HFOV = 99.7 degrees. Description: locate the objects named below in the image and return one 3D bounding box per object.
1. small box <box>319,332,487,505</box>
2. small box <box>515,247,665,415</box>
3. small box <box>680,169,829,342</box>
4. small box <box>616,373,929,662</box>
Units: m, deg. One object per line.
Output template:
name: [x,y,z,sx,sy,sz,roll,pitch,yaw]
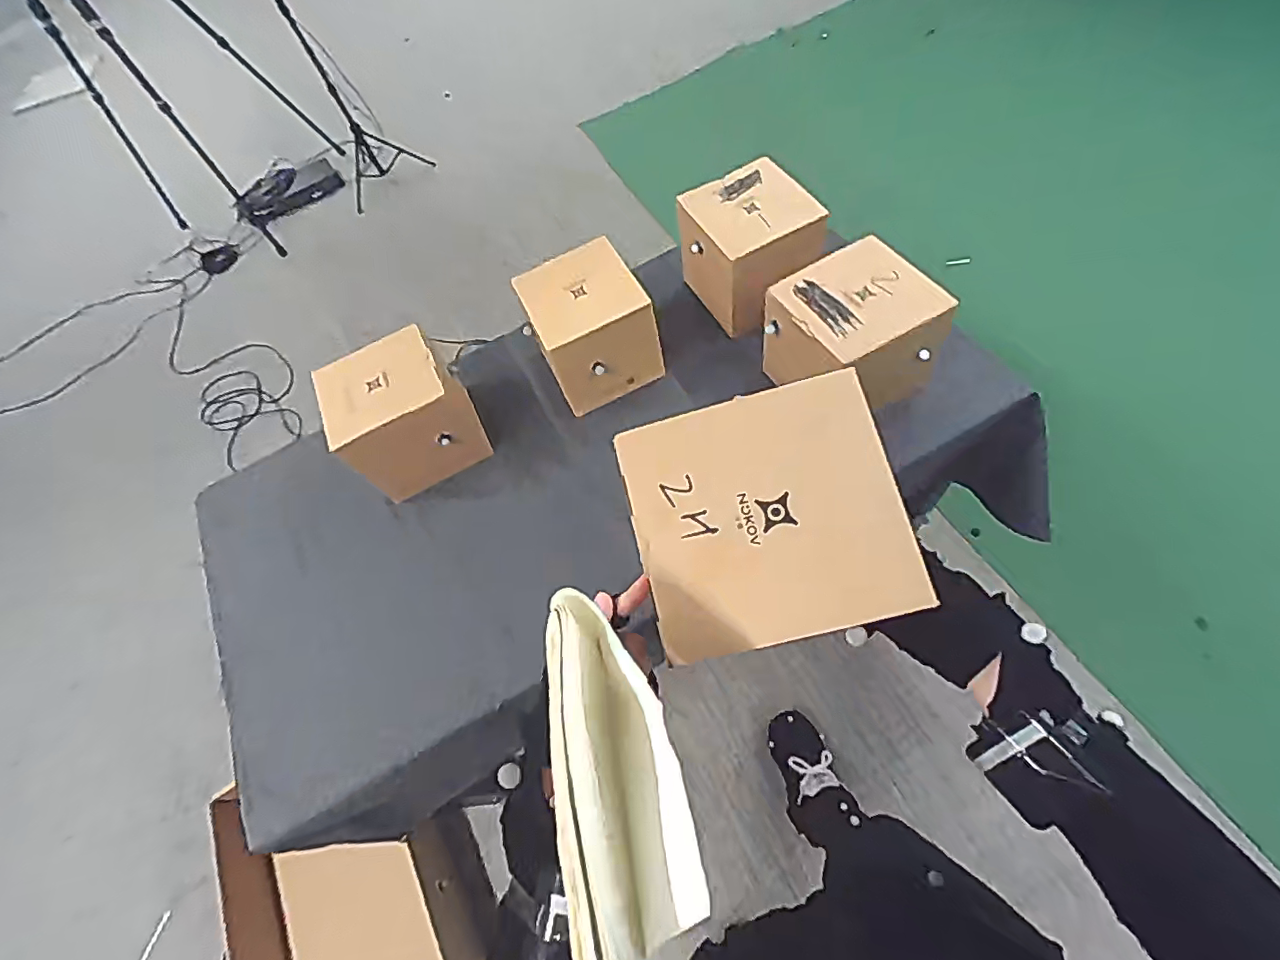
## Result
small box: [-0.358,-0.091,0.846,0.179,0.176,0.168,-27,60,-5]
small box: [-0.073,-0.228,0.871,0.168,0.176,0.179,-27,60,-4]
small box: [0.182,-0.364,0.892,0.168,0.176,0.179,-27,60,-4]
small box: [0.095,0.037,0.442,0.179,0.176,0.168,-16,76,7]
